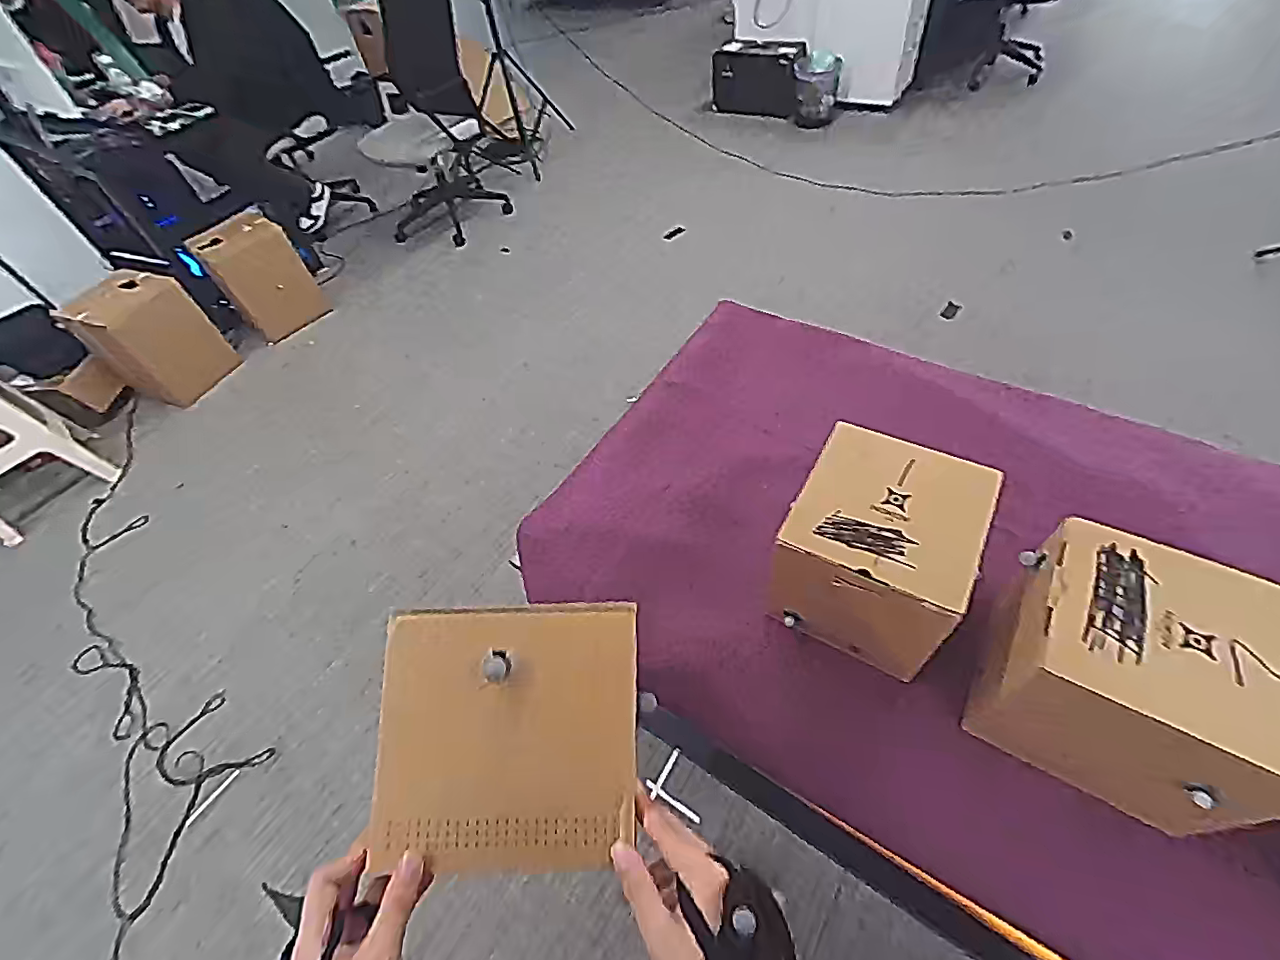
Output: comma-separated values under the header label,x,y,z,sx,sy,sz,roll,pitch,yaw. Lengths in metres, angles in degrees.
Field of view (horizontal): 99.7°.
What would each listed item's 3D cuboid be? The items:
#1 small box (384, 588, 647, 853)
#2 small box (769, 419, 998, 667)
label,x,y,z,sx,sy,sz,roll,pitch,yaw
small box,-0.083,0.176,0.439,0.179,0.168,0.176,-1,77,-1
small box,0.249,0.070,0.585,0.168,0.176,0.179,23,57,23
